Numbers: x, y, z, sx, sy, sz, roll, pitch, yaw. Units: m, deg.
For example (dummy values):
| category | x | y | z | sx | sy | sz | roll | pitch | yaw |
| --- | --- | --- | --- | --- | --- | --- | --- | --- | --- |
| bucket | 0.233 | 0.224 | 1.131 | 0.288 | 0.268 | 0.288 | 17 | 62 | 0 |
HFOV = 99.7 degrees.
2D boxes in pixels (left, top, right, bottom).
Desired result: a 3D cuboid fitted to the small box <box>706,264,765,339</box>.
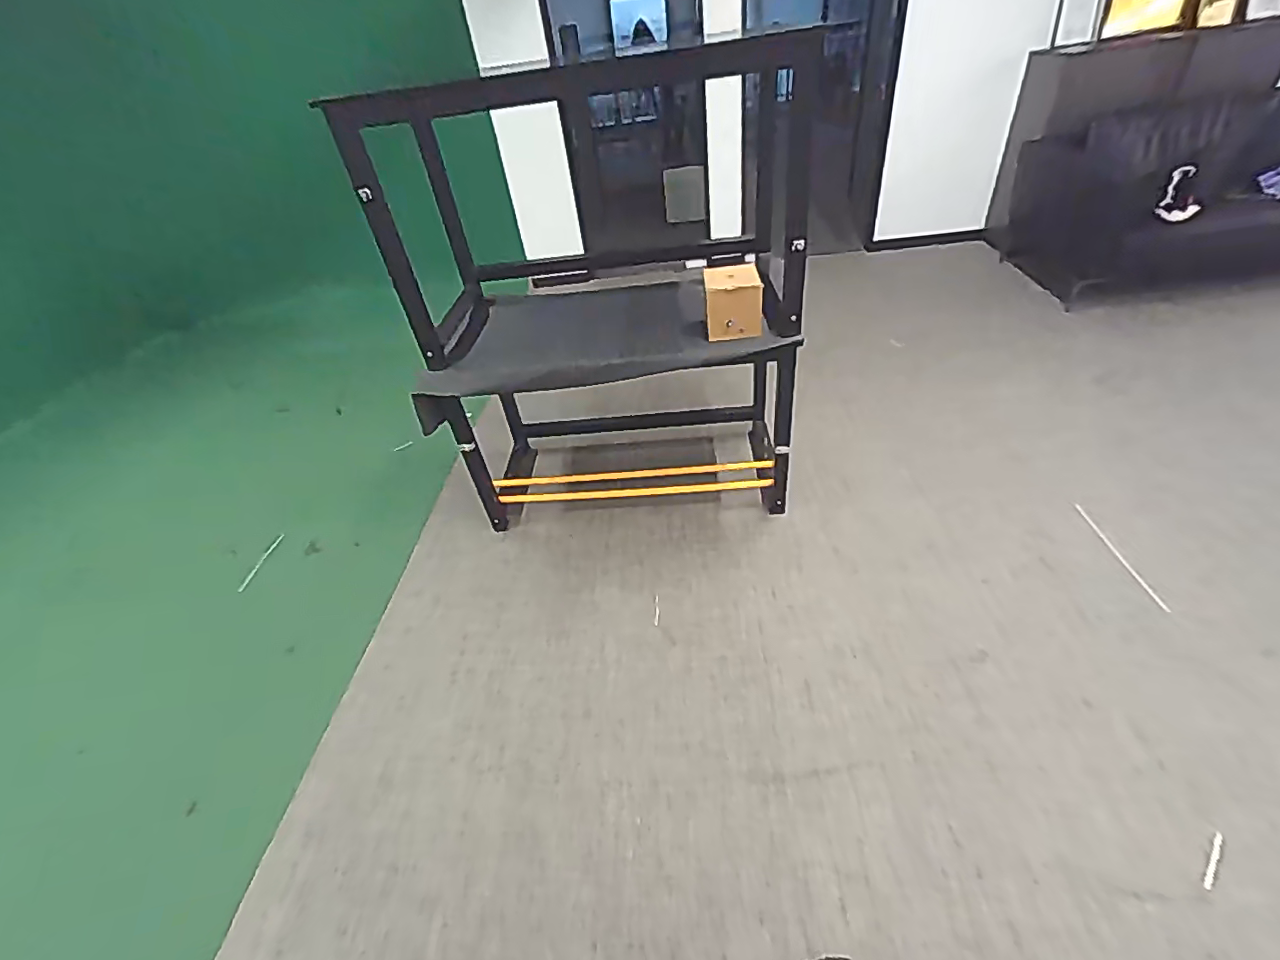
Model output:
| category | x | y | z | sx | sy | sz | roll | pitch | yaw |
| --- | --- | --- | --- | --- | --- | --- | --- | --- | --- |
| small box | 0.296 | -0.561 | 1.703 | 0.168 | 0.176 | 0.179 | -5 | 40 | 6 |
